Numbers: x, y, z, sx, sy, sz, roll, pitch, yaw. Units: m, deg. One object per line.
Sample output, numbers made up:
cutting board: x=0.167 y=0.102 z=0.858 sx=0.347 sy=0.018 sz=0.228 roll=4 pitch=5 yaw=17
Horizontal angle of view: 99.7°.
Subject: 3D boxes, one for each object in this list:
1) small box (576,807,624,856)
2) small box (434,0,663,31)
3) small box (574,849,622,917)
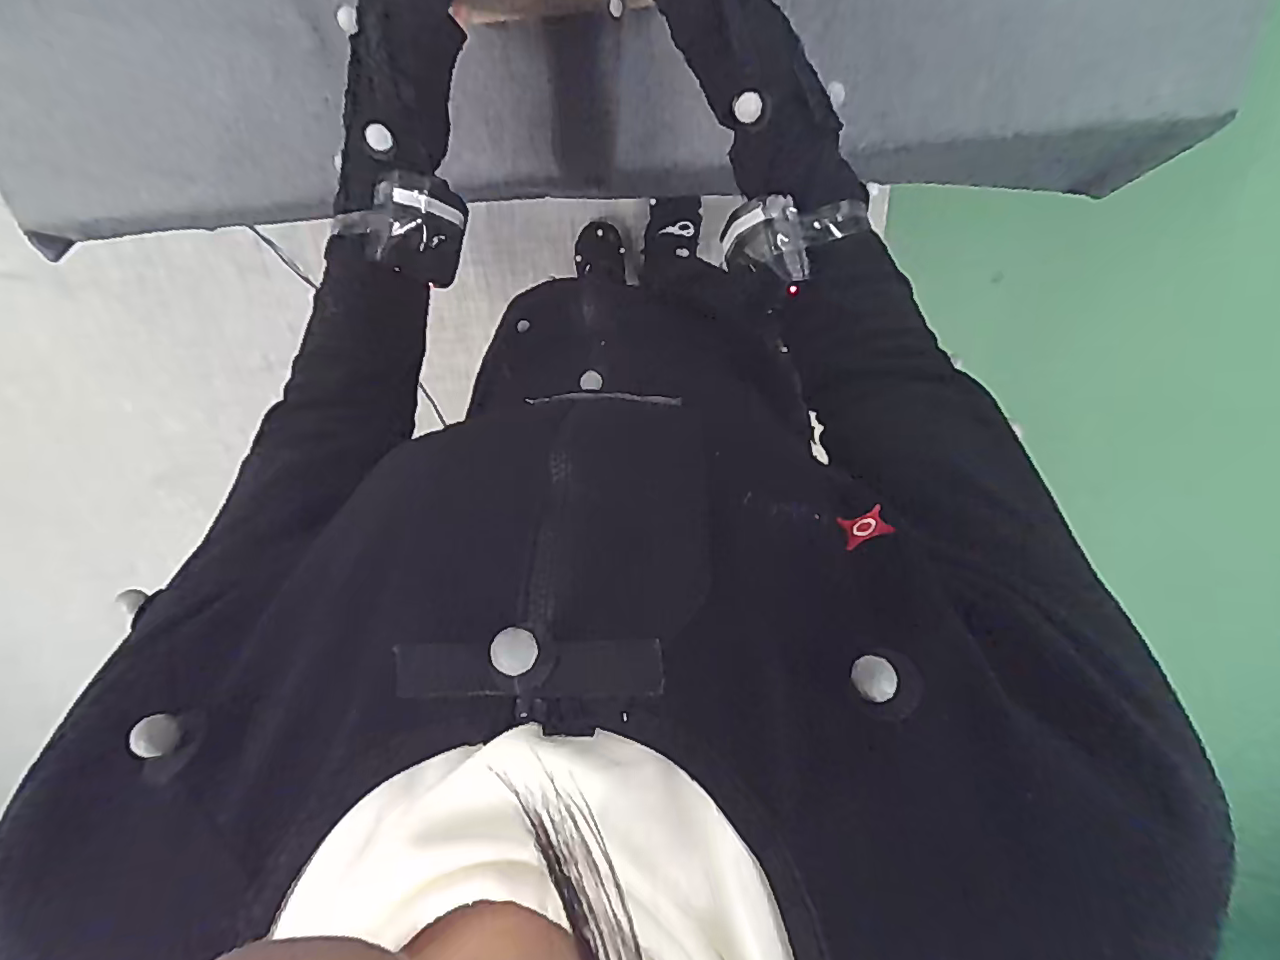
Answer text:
small box: x=-0.165 y=1.525 z=2.303 sx=0.179 sy=0.176 sz=0.168 roll=-4 pitch=119 yaw=3
small box: x=-0.064 y=-0.436 z=0.375 sx=0.179 sy=0.176 sz=0.168 roll=-5 pitch=123 yaw=3
small box: x=-0.163 y=1.605 z=2.161 sx=0.179 sy=0.176 sz=0.168 roll=-1 pitch=119 yaw=1
